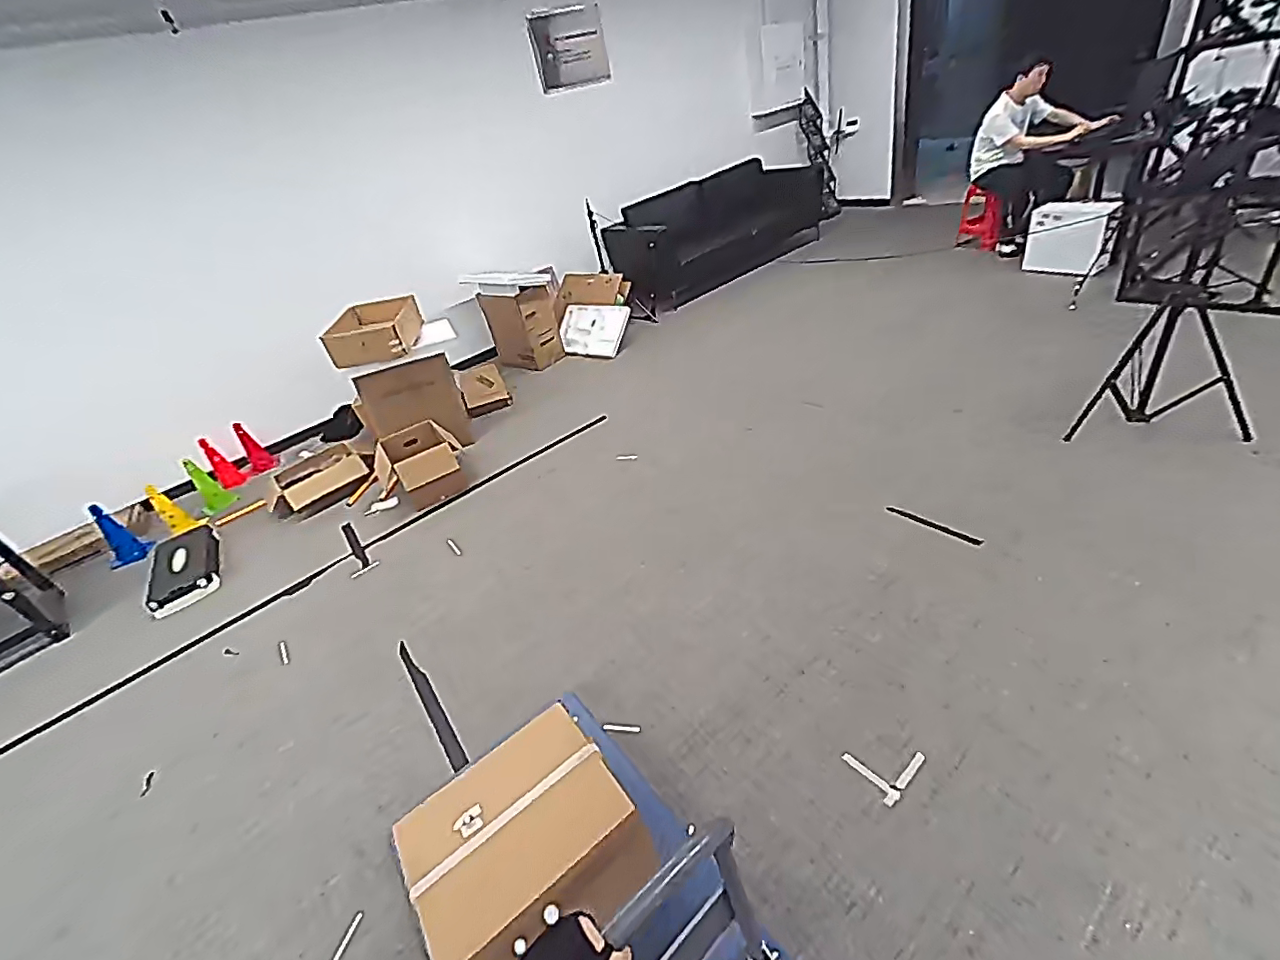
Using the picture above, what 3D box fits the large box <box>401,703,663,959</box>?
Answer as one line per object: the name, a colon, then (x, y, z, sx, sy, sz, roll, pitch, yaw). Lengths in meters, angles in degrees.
large box: (-0.216, 0.784, 1.157, 0.408, 0.320, 0.320, -33, 37, -22)
